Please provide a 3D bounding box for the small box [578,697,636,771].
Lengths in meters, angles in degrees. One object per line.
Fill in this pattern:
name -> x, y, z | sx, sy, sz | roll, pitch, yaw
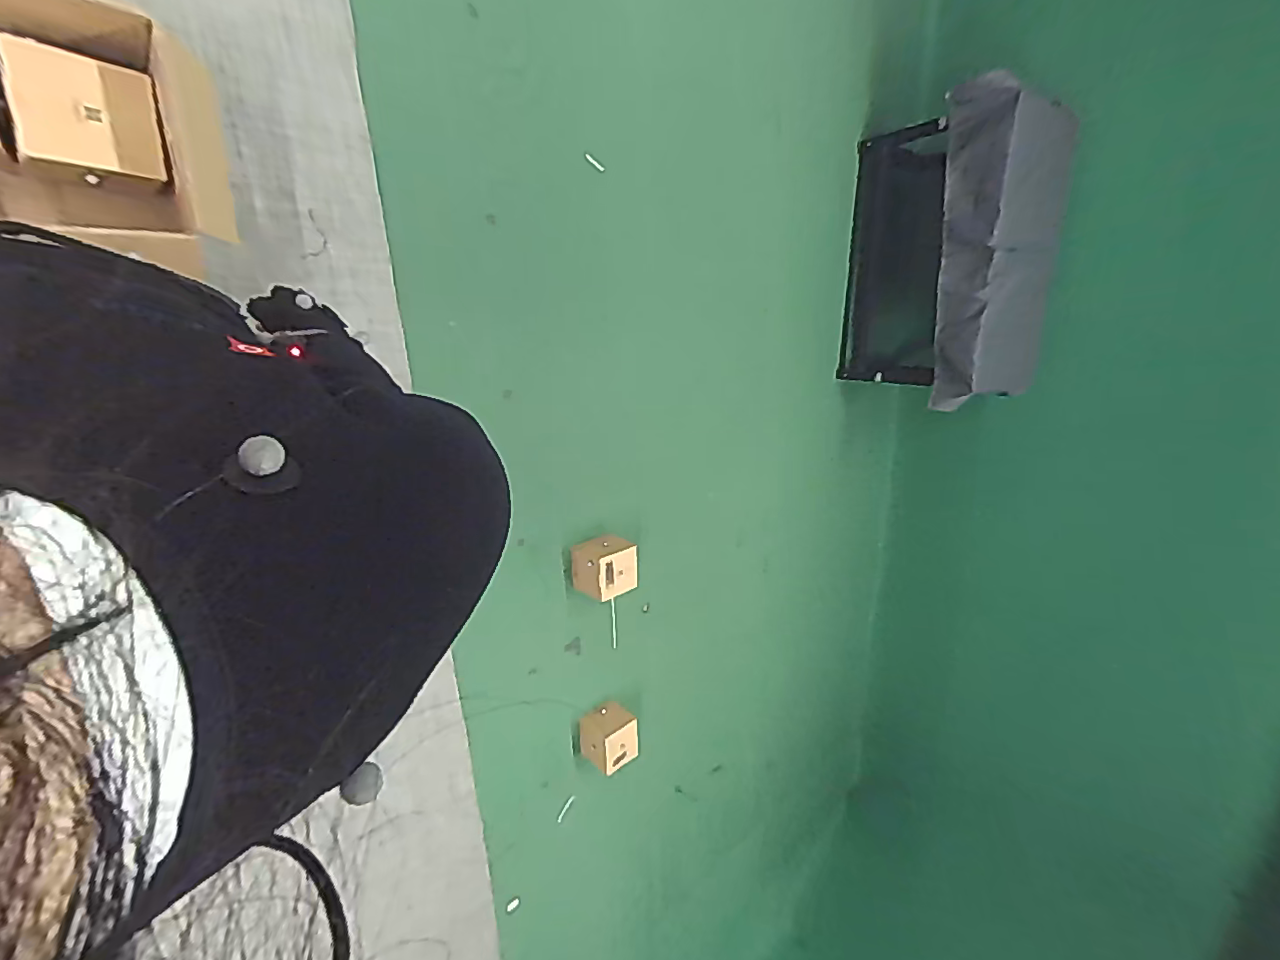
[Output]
small box -> -0.134, 1.013, 2.175 | 0.168, 0.176, 0.179 | -15, 111, -41
